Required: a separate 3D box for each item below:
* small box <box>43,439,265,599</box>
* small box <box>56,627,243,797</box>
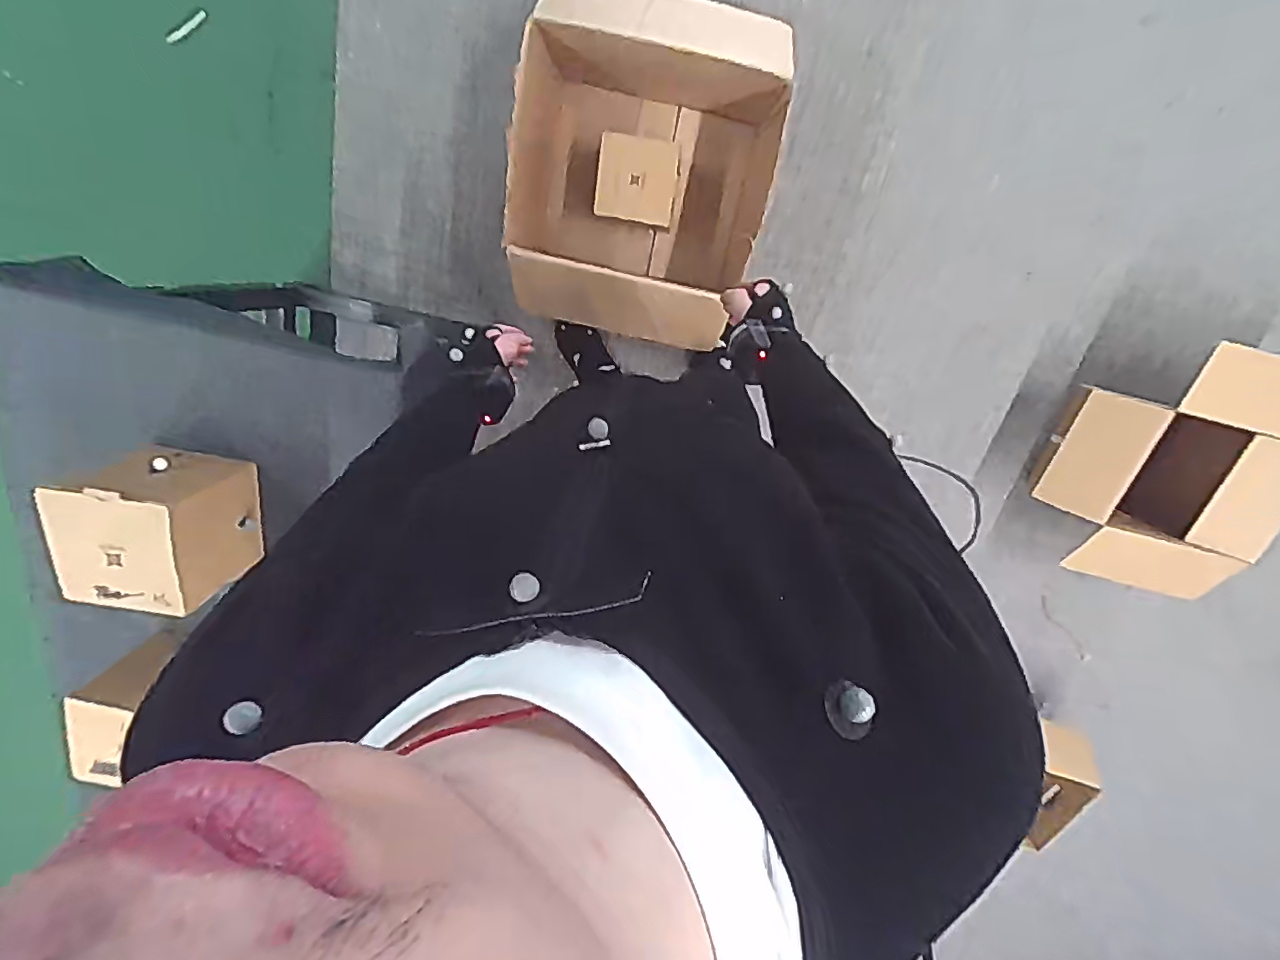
[{"bbox_3d":[-0.694,0.049,0.798,0.168,0.176,0.179,7,112,-3],"label":"small box"},{"bbox_3d":[-0.807,0.382,0.906,0.168,0.176,0.179,18,110,-8],"label":"small box"}]
